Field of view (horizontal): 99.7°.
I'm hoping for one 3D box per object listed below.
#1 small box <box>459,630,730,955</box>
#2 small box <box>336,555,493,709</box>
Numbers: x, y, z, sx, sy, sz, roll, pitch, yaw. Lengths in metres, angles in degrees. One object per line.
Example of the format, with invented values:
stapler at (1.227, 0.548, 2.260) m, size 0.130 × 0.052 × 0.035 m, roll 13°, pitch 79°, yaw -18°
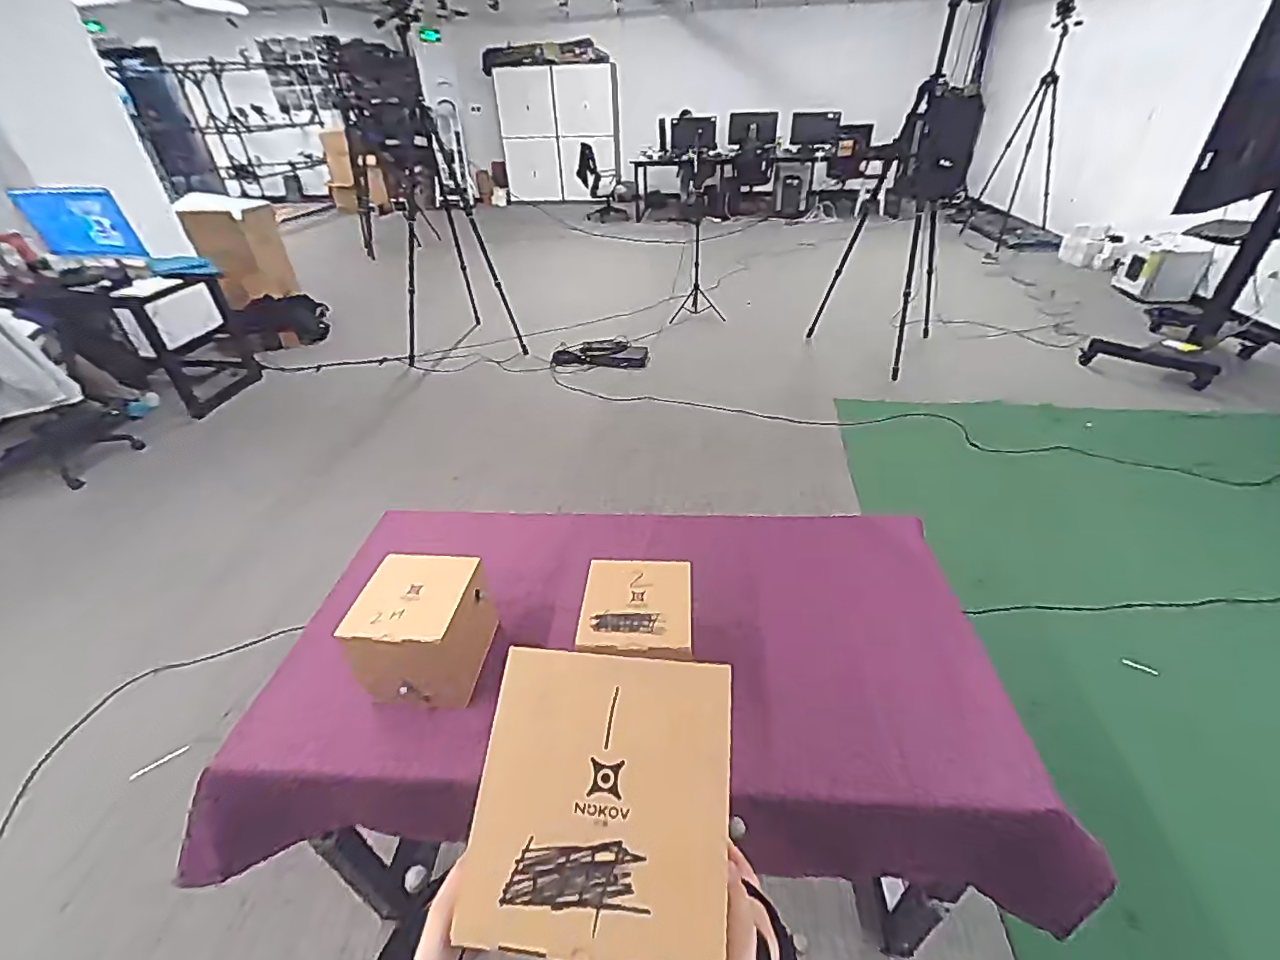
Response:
small box at (-0.017, 0.231, 0.430) m, size 0.168 × 0.176 × 0.179 m, roll 3°, pitch 62°, yaw 6°
small box at (-0.354, 0.246, 0.891) m, size 0.168 × 0.176 × 0.179 m, roll 1°, pitch 36°, yaw 5°
